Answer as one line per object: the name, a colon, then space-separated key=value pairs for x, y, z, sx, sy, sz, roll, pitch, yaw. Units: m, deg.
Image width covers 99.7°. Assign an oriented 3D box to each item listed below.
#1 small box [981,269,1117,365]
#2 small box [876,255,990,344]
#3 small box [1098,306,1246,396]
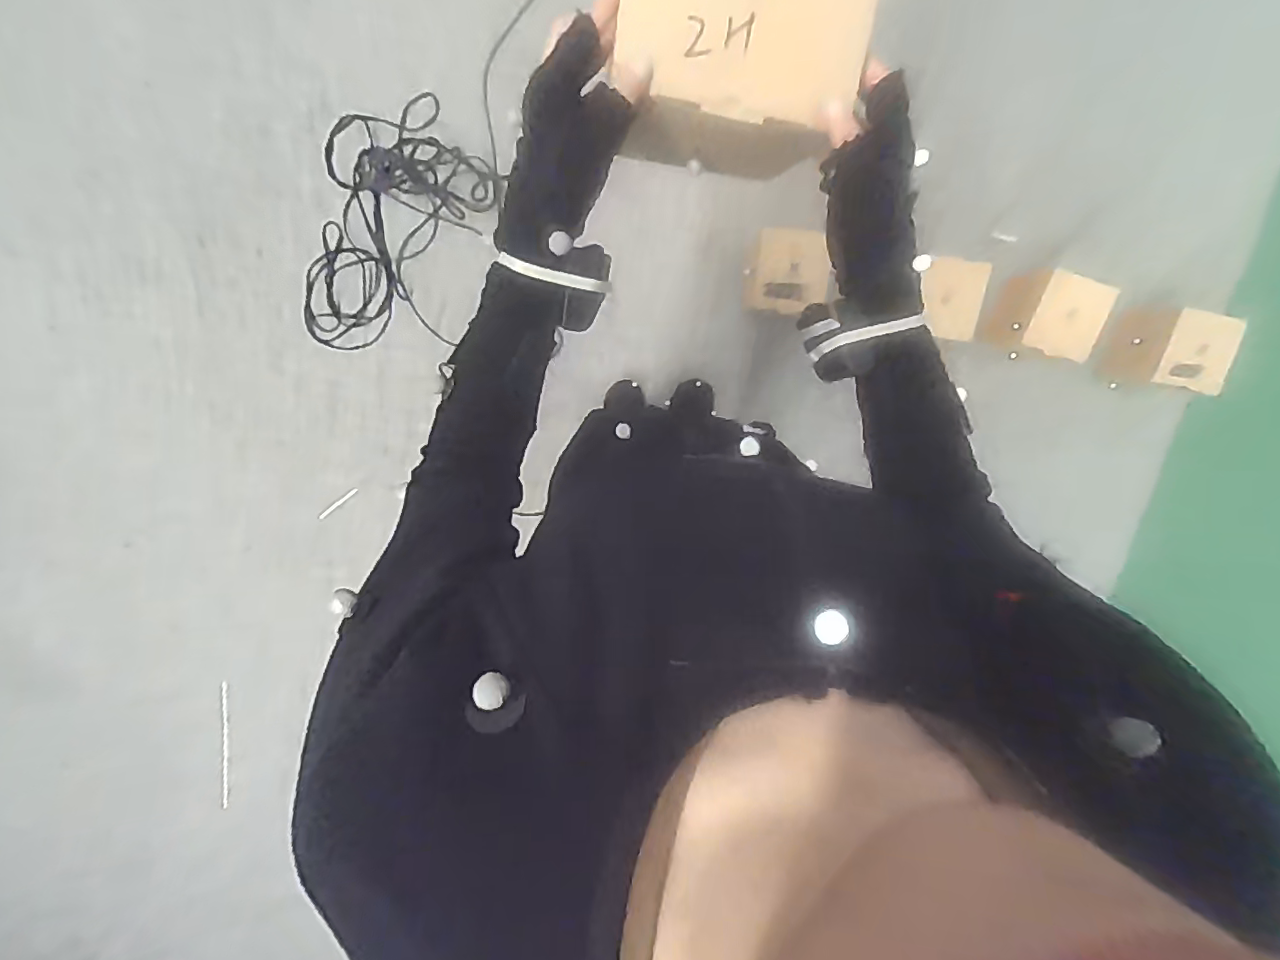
small box: x=0.975 y=-0.388 z=1.309 sx=0.168 sy=0.176 sz=0.179 roll=16 pitch=103 yaw=-3
small box: x=0.692 y=-0.426 z=1.300 sx=0.168 sy=0.176 sz=0.179 roll=8 pitch=104 yaw=0
small box: x=1.285 y=-0.312 z=1.324 sx=0.168 sy=0.176 sz=0.179 roll=12 pitch=102 yaw=-2
